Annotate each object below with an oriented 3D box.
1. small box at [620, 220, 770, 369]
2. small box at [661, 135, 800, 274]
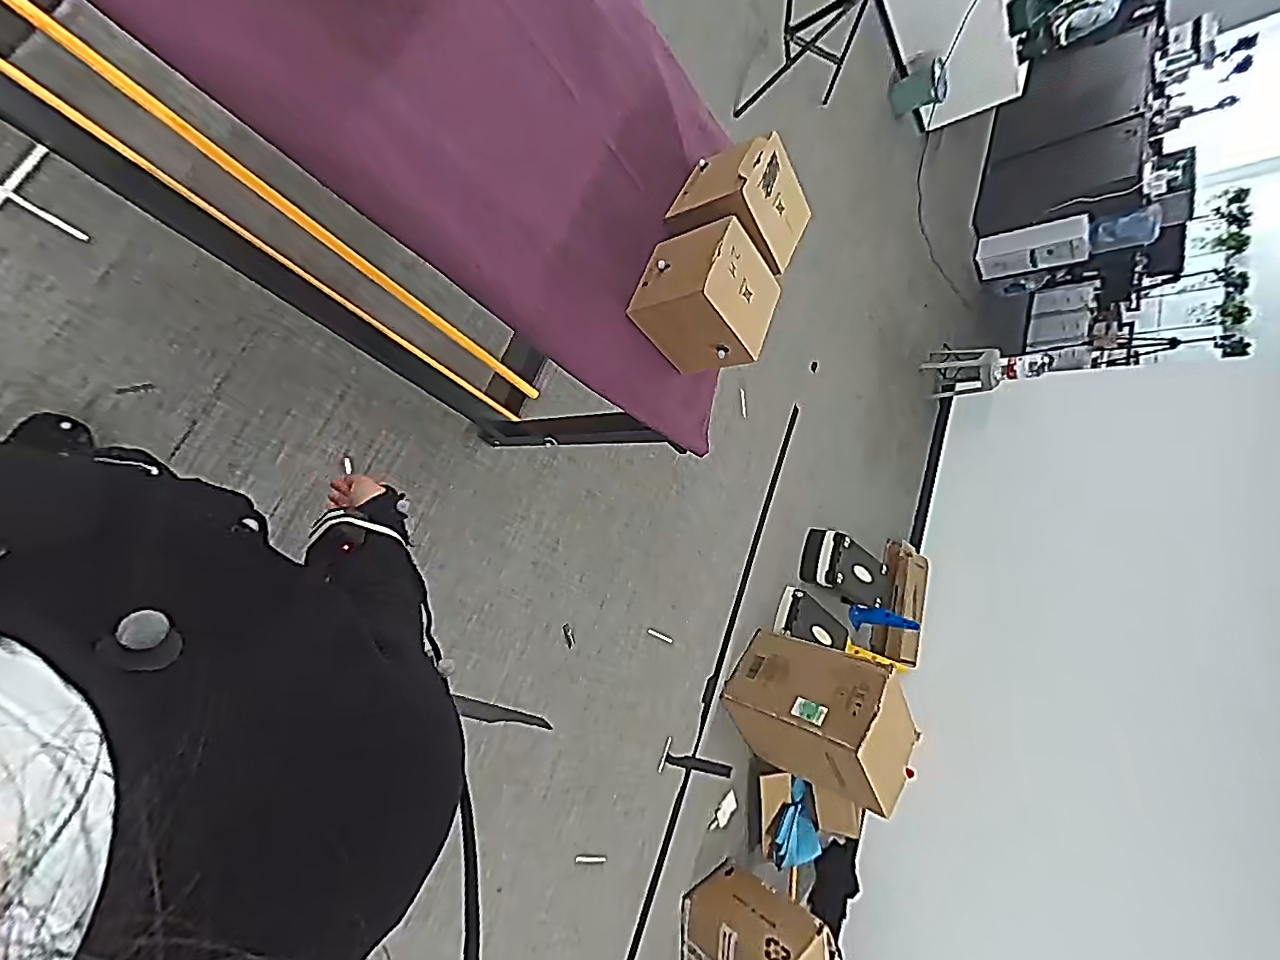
[{"bbox_3d":[0.098,-0.312,0.952,0.179,0.176,0.168,39,64,-39],"label":"small box"},{"bbox_3d":[0.168,-0.490,1.013,0.179,0.176,0.168,45,63,-39],"label":"small box"}]
